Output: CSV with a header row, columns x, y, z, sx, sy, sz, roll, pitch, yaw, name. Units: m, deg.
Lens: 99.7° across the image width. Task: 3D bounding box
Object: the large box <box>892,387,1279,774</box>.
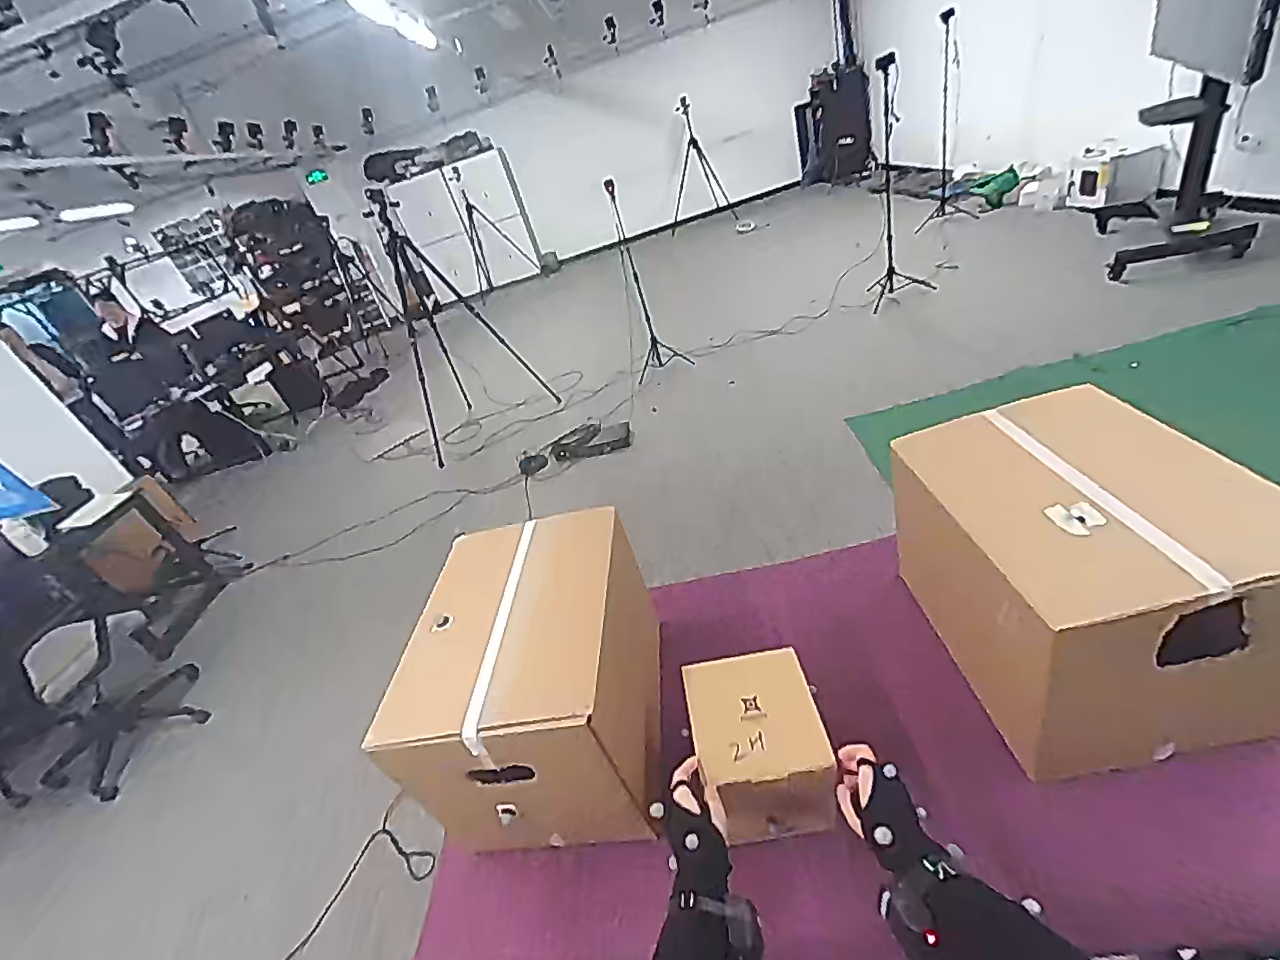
x,y,z,sx,sy,sz,roll,pitch,yaw,name
0.603,0.122,0.770,0.320,0.320,0.408,-17,33,8,large box
